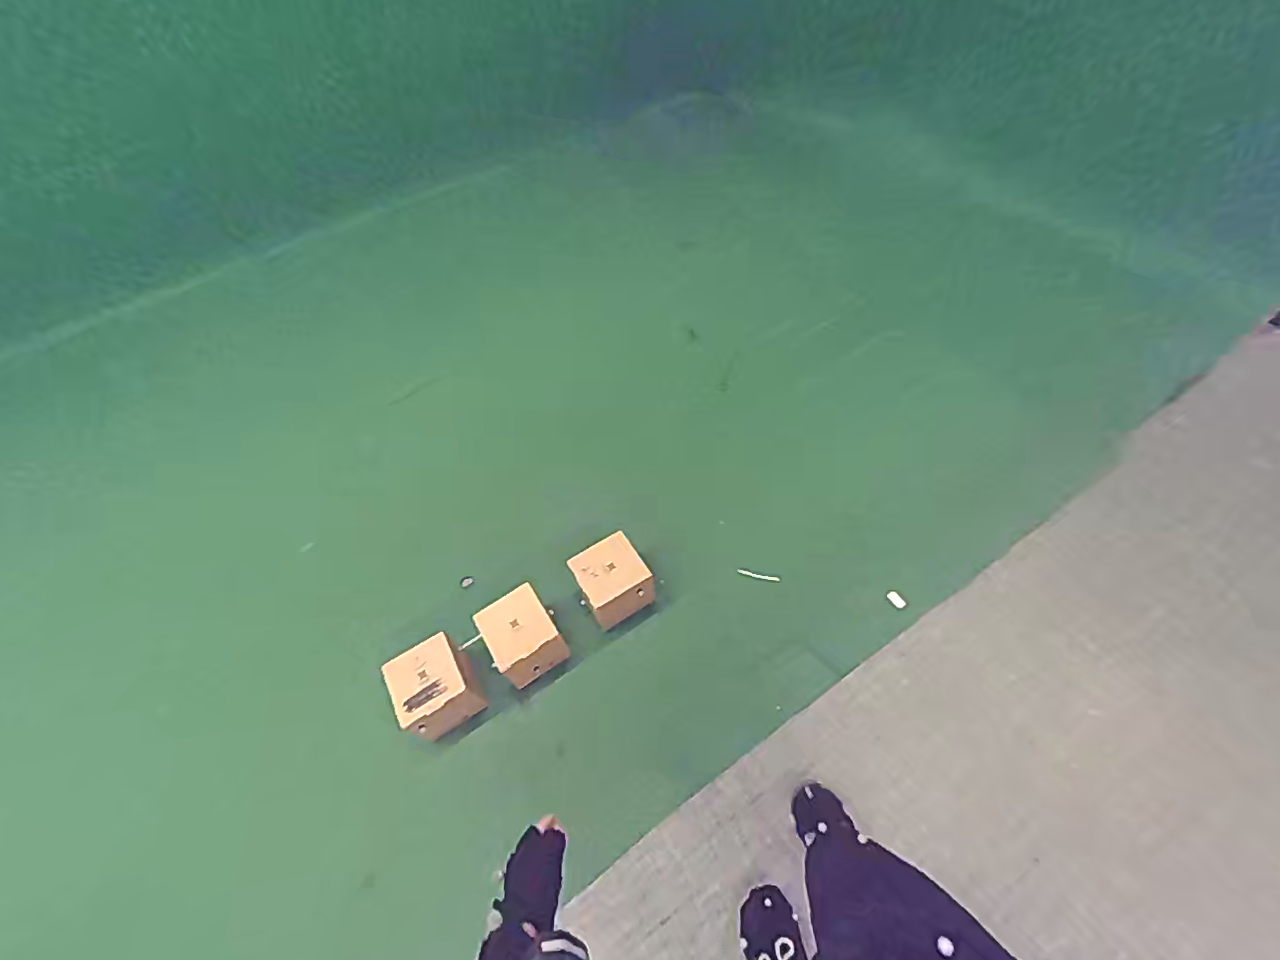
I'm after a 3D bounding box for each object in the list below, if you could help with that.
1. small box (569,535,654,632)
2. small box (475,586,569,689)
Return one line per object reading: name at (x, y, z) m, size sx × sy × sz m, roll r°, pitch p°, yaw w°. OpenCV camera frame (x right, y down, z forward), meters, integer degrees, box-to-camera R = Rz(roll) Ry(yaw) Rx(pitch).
small box at (-0.073, 0.290, 1.496) m, size 0.179 × 0.176 × 0.168 m, roll -28°, pitch 57°, yaw -14°
small box at (-0.307, 0.420, 1.430) m, size 0.168 × 0.176 × 0.179 m, roll -31°, pitch 59°, yaw -15°
